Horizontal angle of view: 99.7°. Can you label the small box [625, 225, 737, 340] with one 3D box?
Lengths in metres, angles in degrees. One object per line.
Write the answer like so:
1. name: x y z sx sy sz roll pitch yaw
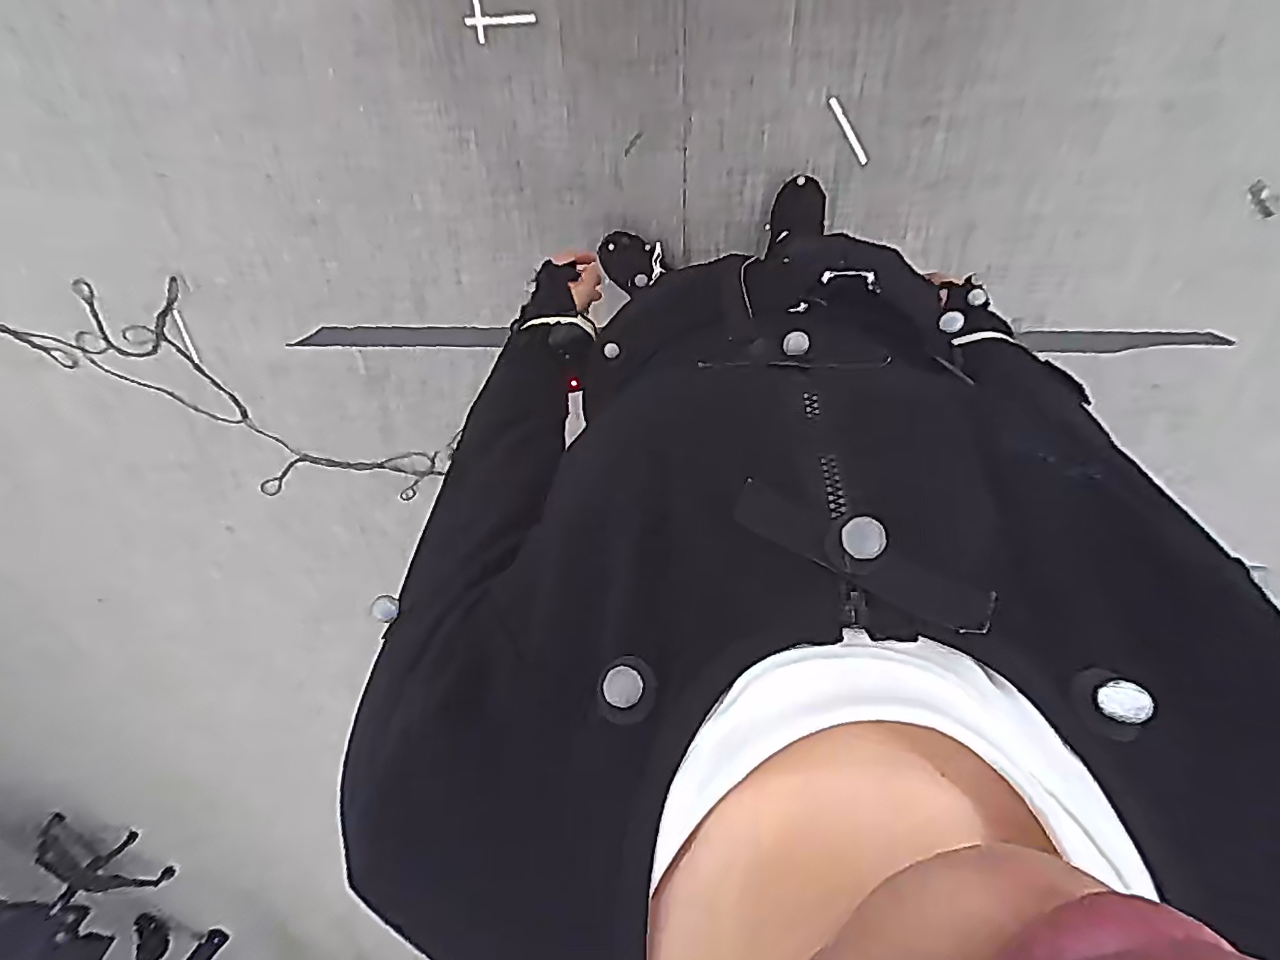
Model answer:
1. small box: 0.082 -0.416 1.142 0.179 0.176 0.168 -40 107 17
